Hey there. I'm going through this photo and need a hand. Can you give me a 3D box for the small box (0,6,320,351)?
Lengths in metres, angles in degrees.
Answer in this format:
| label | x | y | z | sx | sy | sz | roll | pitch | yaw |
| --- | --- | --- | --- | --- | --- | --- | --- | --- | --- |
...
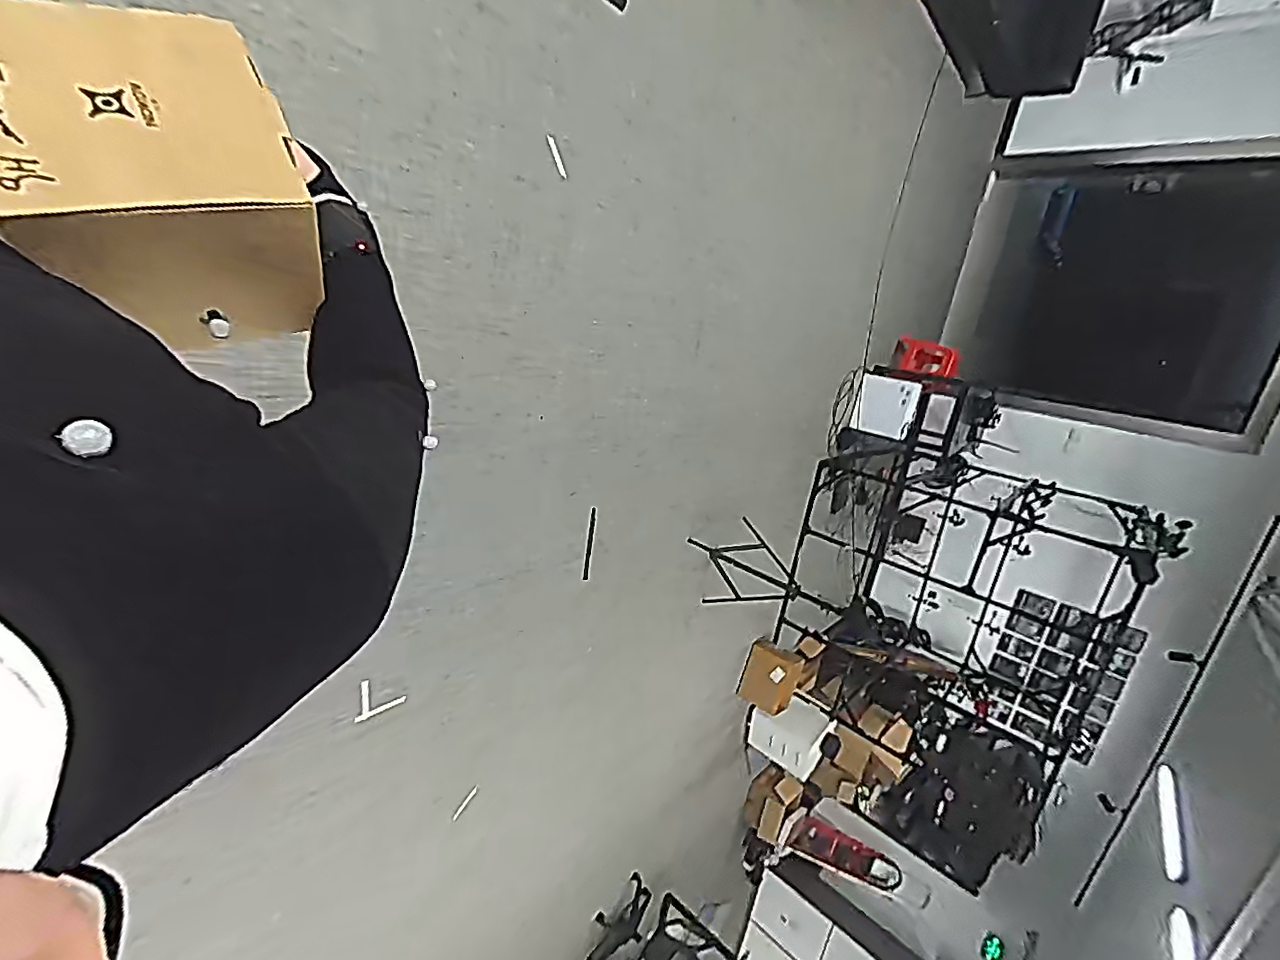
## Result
| label | x | y | z | sx | sy | sz | roll | pitch | yaw |
| --- | --- | --- | --- | --- | --- | --- | --- | --- | --- |
| small box | -0.384 | -0.229 | 0.444 | 0.179 | 0.176 | 0.168 | -21 | 82 | -32 |
